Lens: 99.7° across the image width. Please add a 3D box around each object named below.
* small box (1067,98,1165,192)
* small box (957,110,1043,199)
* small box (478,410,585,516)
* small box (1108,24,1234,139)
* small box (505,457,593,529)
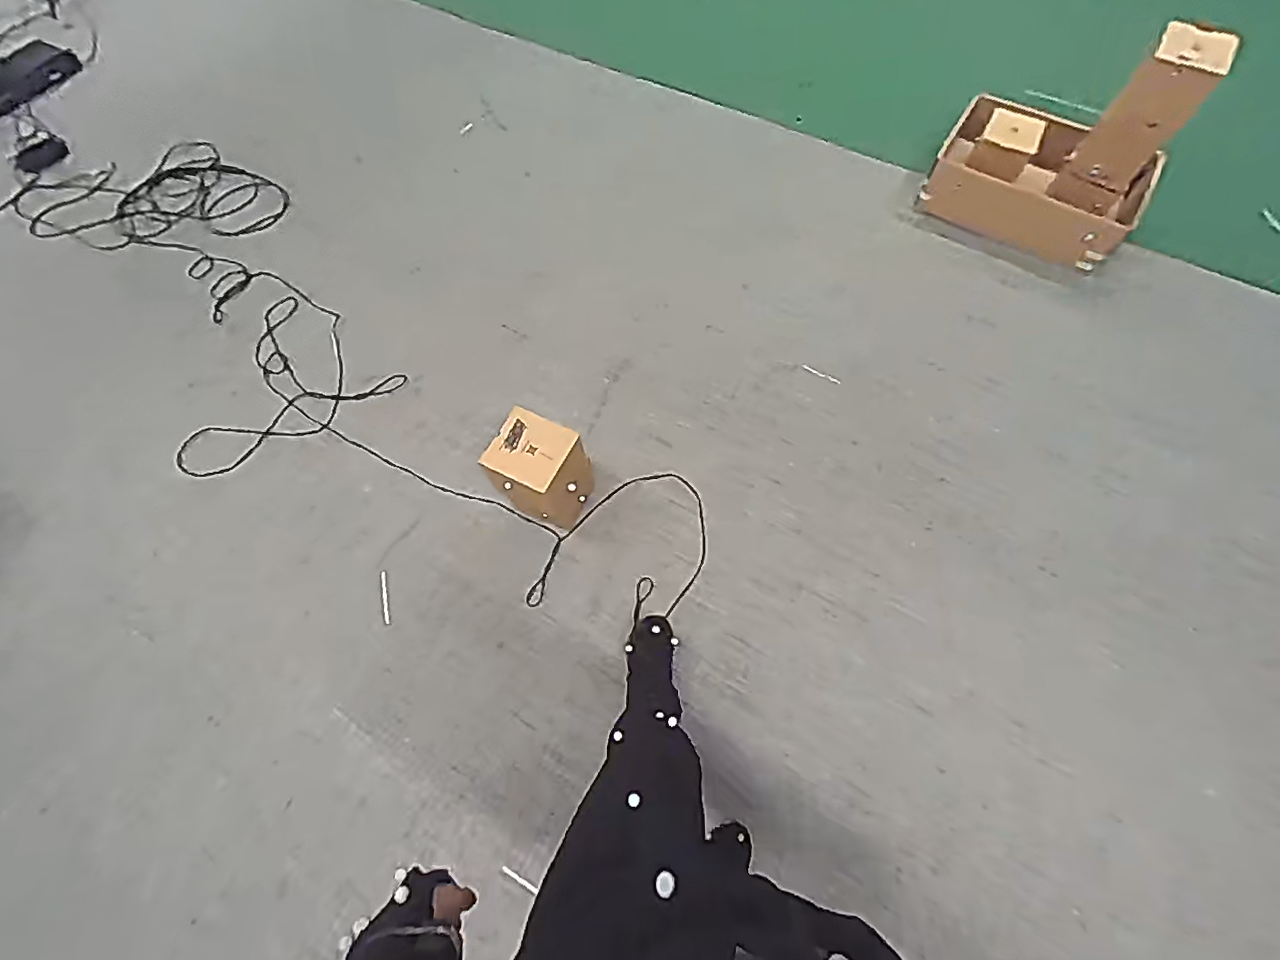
[{"bbox_3d":[1.424,-1.003,1.605,0.168,0.176,0.179,32,73,16],"label":"small box"},{"bbox_3d":[1.213,-1.100,1.833,0.168,0.176,0.179,26,71,12],"label":"small box"},{"bbox_3d":[-0.249,-0.034,1.293,0.179,0.176,0.168,25,70,11],"label":"small box"},{"bbox_3d":[1.416,-1.067,1.454,0.168,0.176,0.179,29,70,15],"label":"small box"},{"bbox_3d":[-0.239,0.016,1.450,0.179,0.176,0.168,21,68,11],"label":"small box"}]
